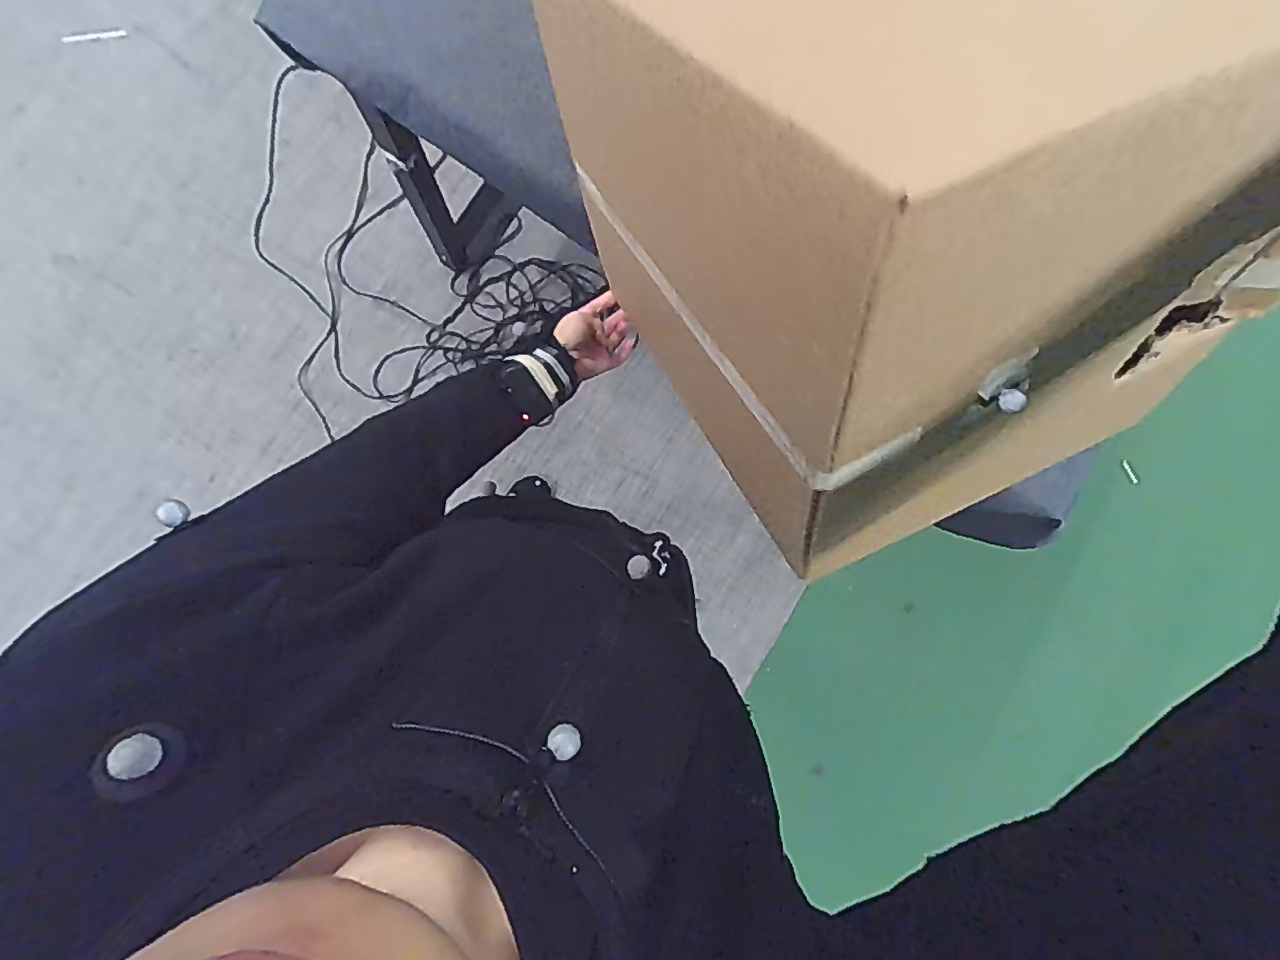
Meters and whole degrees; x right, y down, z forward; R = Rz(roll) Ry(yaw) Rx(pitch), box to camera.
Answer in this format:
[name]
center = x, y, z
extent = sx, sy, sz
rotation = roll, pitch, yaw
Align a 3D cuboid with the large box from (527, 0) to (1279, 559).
[large box]
center = 0.155, -0.218, 0.403
extent = 0.320, 0.320, 0.408
rotation = -27, 58, -5
